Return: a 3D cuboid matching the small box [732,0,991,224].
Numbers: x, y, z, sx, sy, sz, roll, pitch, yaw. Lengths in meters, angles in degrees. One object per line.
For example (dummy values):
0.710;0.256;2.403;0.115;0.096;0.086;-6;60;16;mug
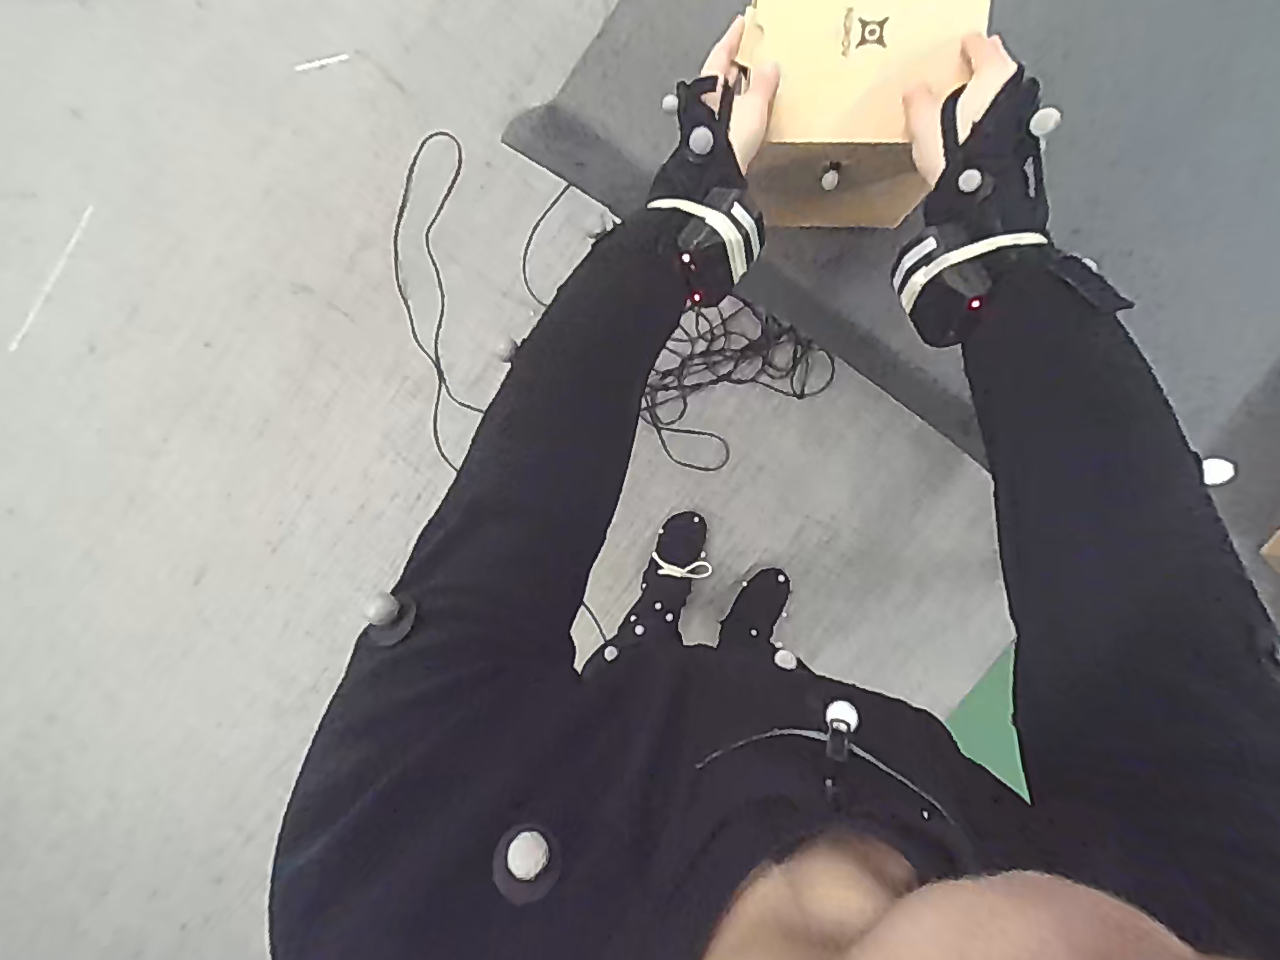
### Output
0.181;-0.347;0.488;0.179;0.176;0.168;6;95;8;small box
